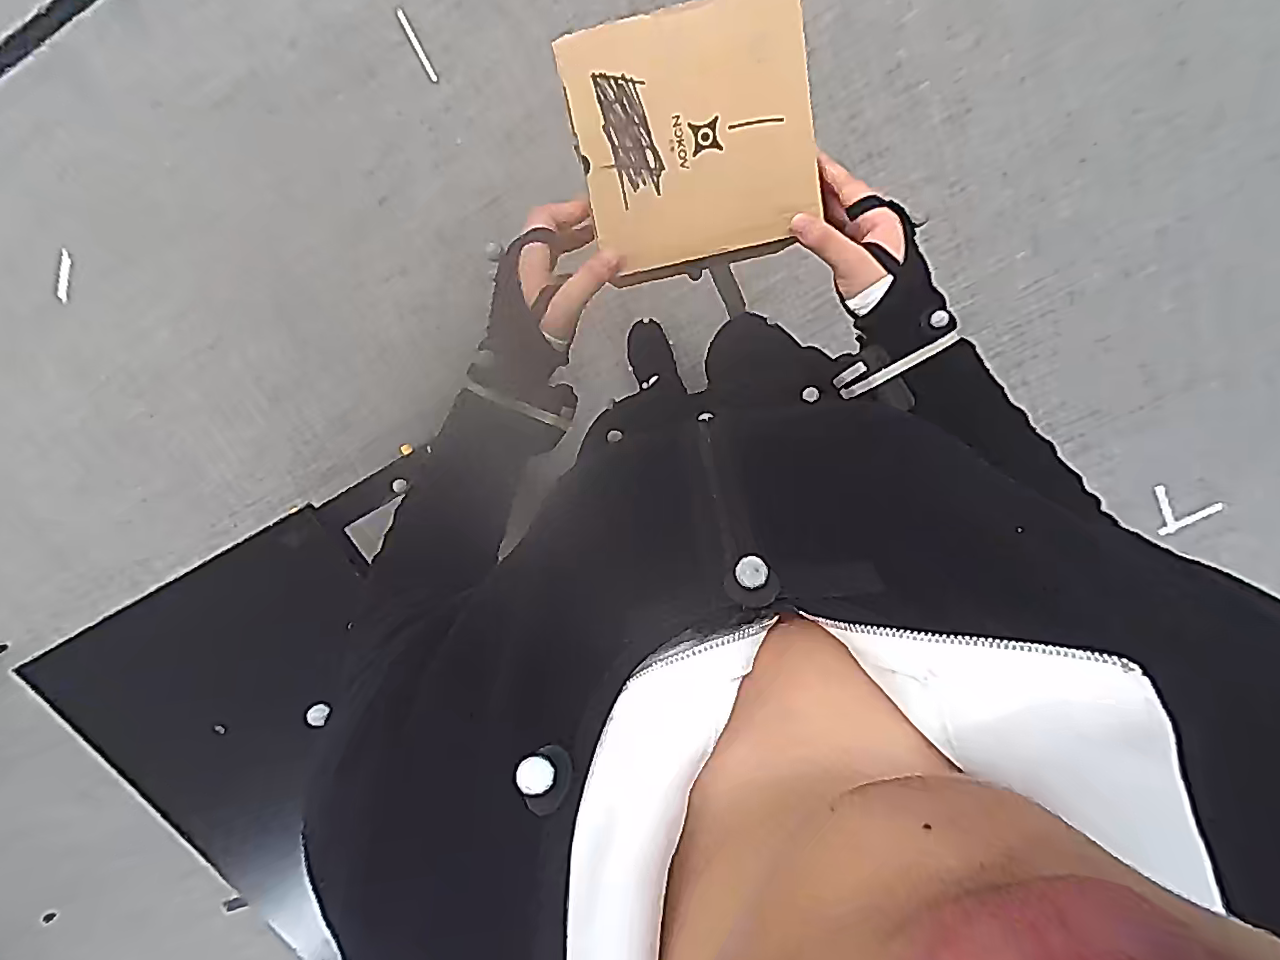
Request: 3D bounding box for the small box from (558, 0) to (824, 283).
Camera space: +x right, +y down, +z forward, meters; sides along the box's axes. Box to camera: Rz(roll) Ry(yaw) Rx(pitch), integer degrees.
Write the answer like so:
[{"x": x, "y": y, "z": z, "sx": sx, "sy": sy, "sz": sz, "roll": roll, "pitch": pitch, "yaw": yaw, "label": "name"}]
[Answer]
[{"x": 0.044, "y": -0.276, "z": 0.473, "sx": 0.179, "sy": 0.176, "sz": 0.168, "roll": -11, "pitch": 107, "yaw": 5, "label": "small box"}]
